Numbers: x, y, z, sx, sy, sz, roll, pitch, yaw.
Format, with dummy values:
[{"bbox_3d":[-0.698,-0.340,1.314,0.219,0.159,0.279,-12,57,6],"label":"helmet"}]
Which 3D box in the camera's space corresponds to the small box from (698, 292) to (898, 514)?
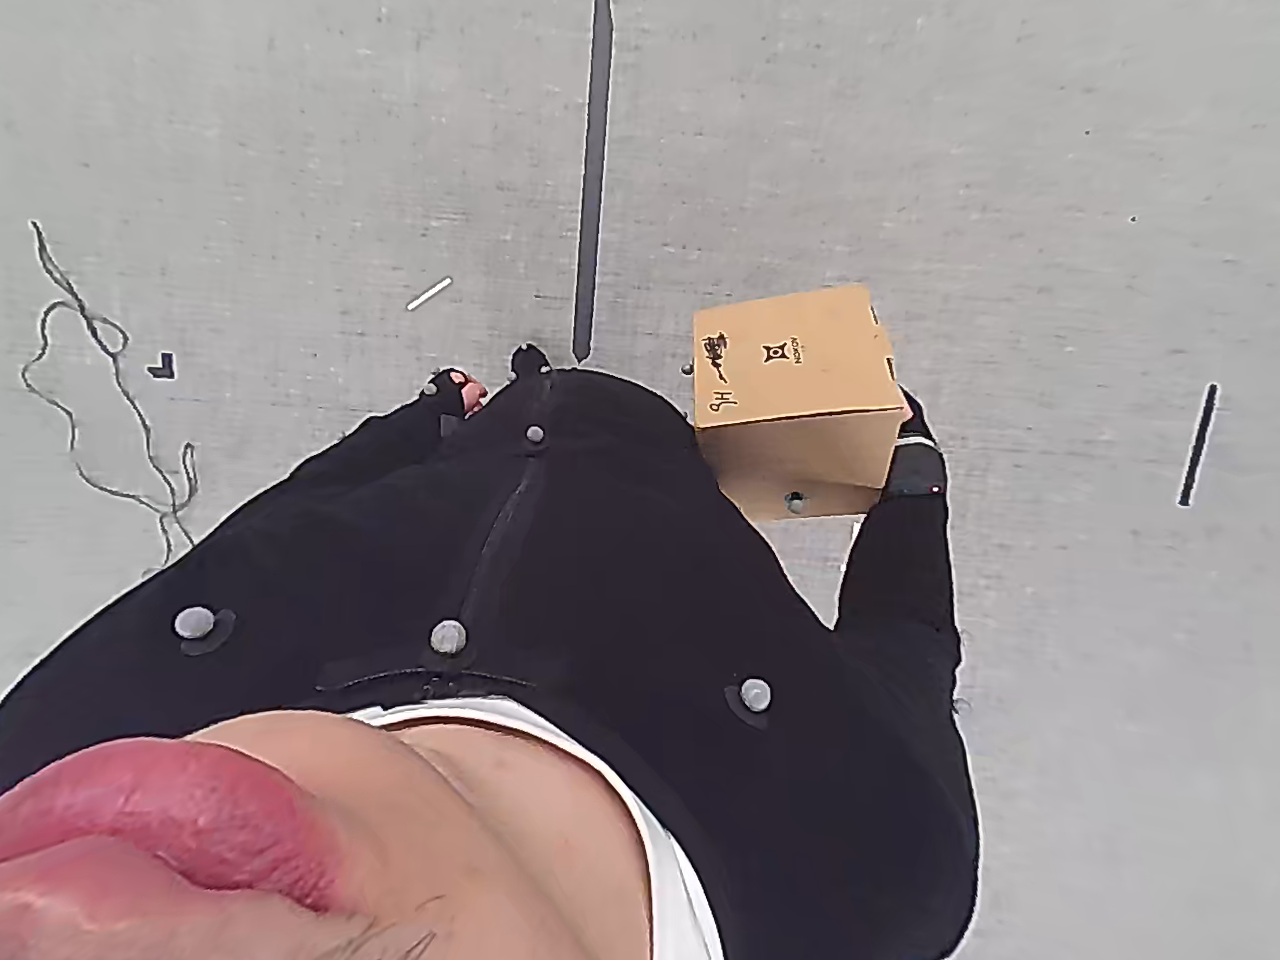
[{"bbox_3d":[0.158,-0.077,0.592,0.179,0.168,0.176,-5,143,11],"label":"small box"}]
